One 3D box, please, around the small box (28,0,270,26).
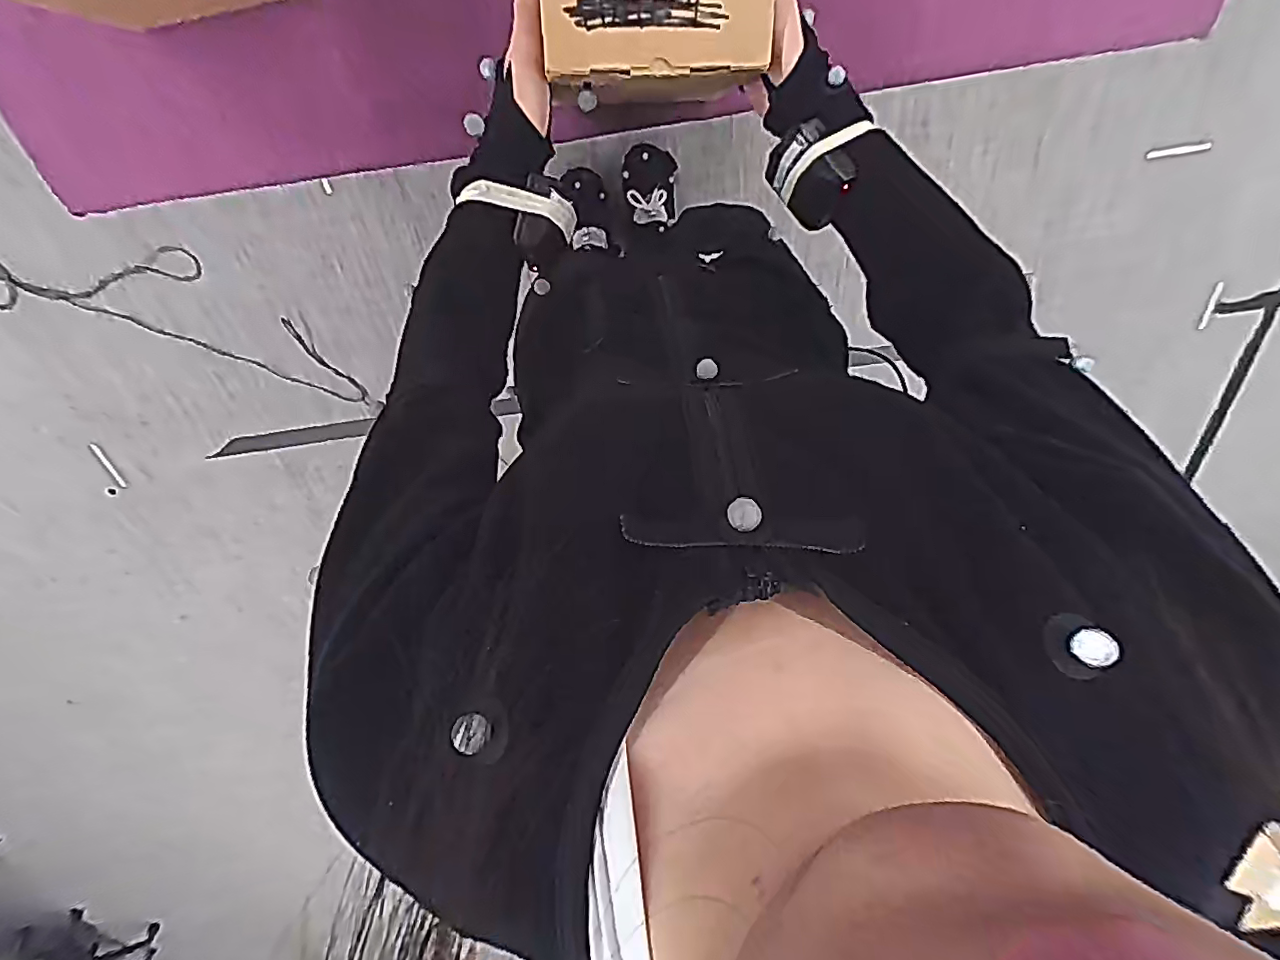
[{"bbox_3d":[-0.378,-0.449,0.376,0.179,0.176,0.168,-11,121,1],"label":"small box"}]
